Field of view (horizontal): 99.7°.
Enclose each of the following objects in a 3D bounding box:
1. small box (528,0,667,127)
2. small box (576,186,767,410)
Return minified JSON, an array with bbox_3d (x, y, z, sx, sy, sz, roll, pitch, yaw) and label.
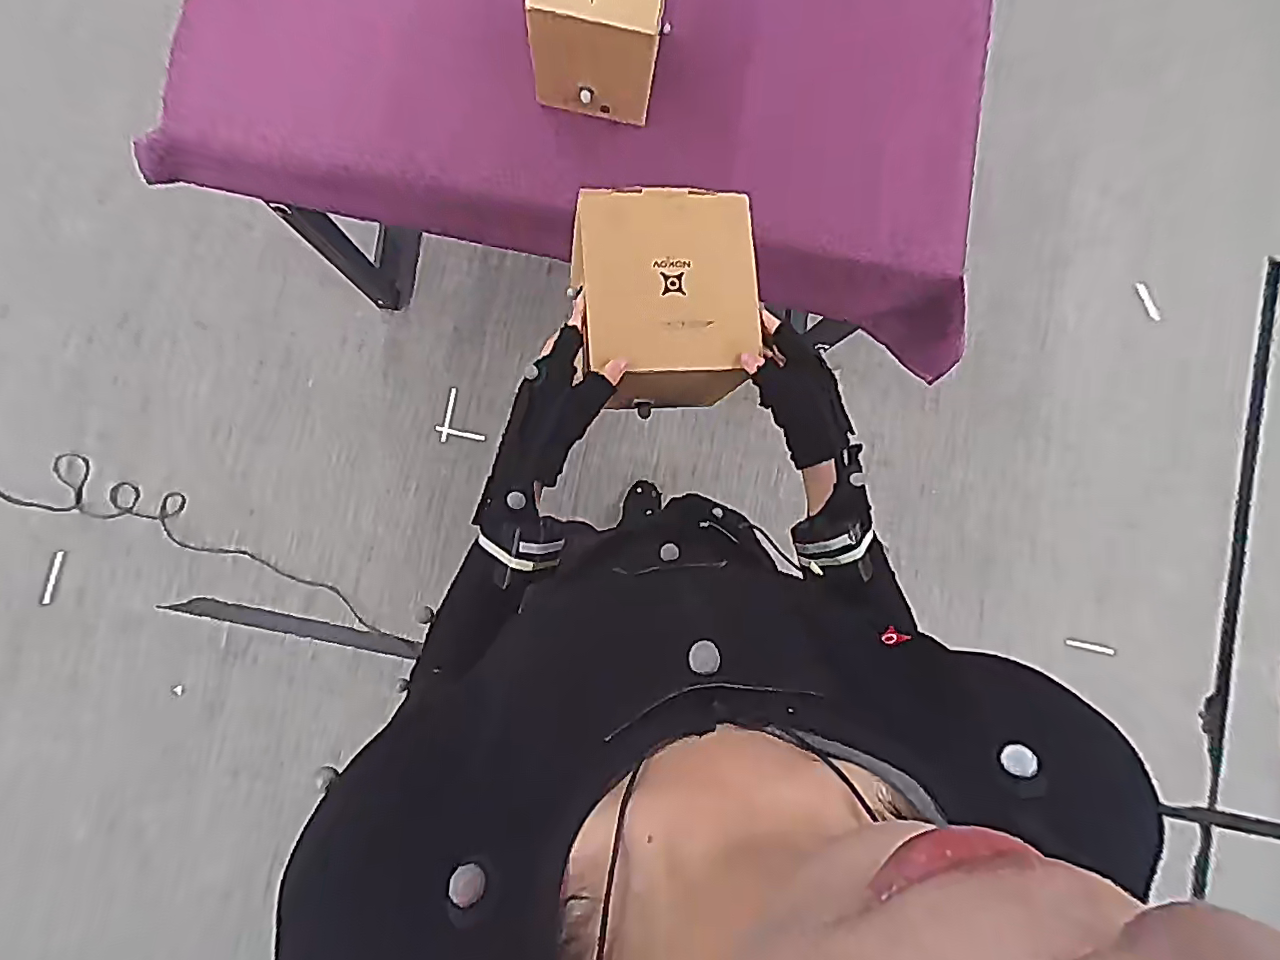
[{"bbox_3d":[-0.051,-0.640,0.748,0.168,0.176,0.179,9,87,-4],"label":"small box"},{"bbox_3d":[0.021,-0.181,0.579,0.168,0.176,0.179,-4,86,-9],"label":"small box"}]
